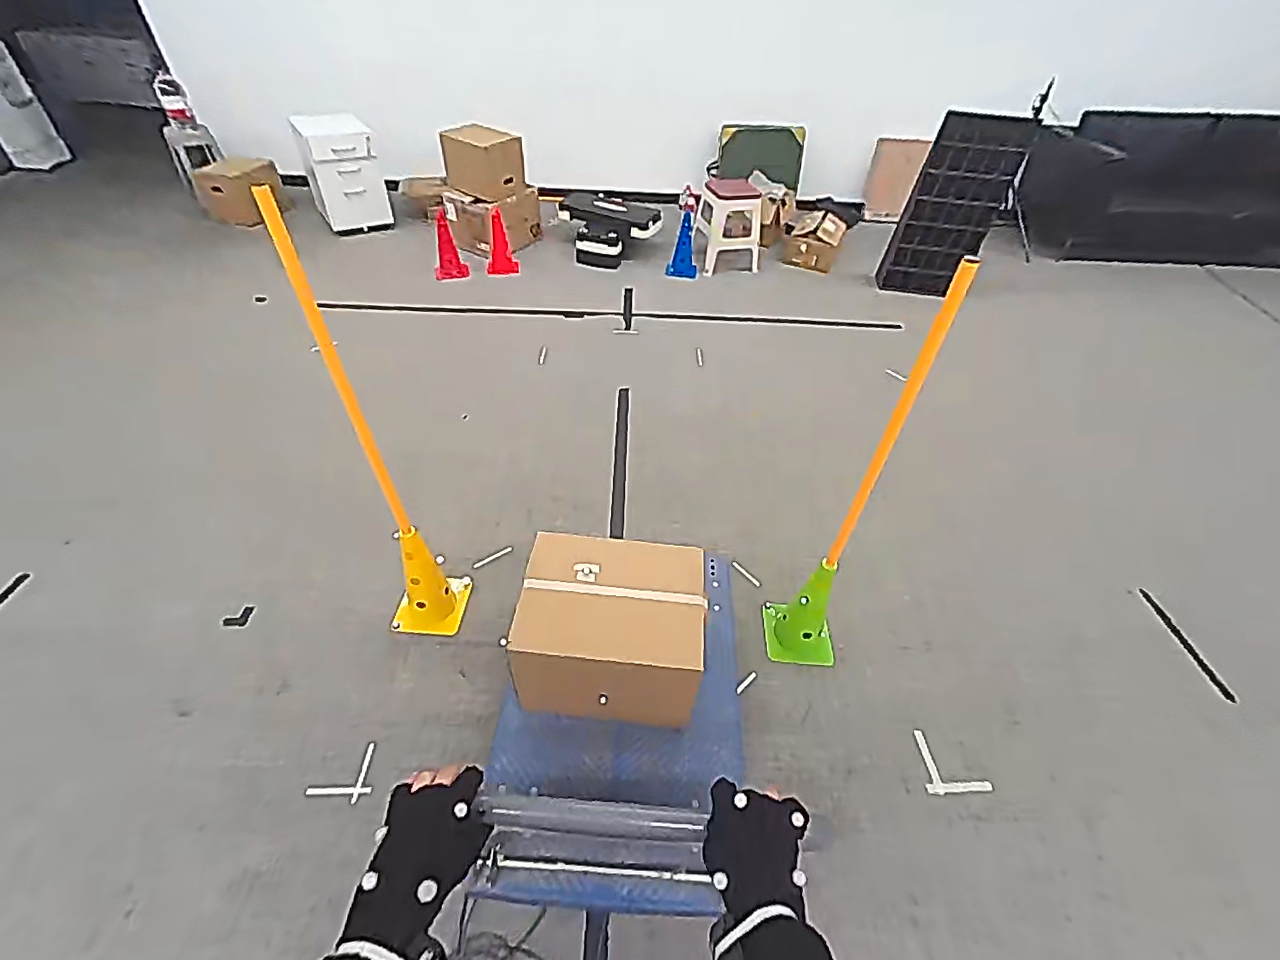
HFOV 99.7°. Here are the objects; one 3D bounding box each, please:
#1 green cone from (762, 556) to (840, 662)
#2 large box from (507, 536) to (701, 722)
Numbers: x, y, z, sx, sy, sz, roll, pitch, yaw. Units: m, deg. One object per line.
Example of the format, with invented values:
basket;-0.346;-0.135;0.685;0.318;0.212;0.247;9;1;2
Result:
green cone;0.498;0.348;1.570;0.202;0.368;0.200;6;45;0
large box;-0.068;0.363;1.311;0.408;0.320;0.320;5;45;2
